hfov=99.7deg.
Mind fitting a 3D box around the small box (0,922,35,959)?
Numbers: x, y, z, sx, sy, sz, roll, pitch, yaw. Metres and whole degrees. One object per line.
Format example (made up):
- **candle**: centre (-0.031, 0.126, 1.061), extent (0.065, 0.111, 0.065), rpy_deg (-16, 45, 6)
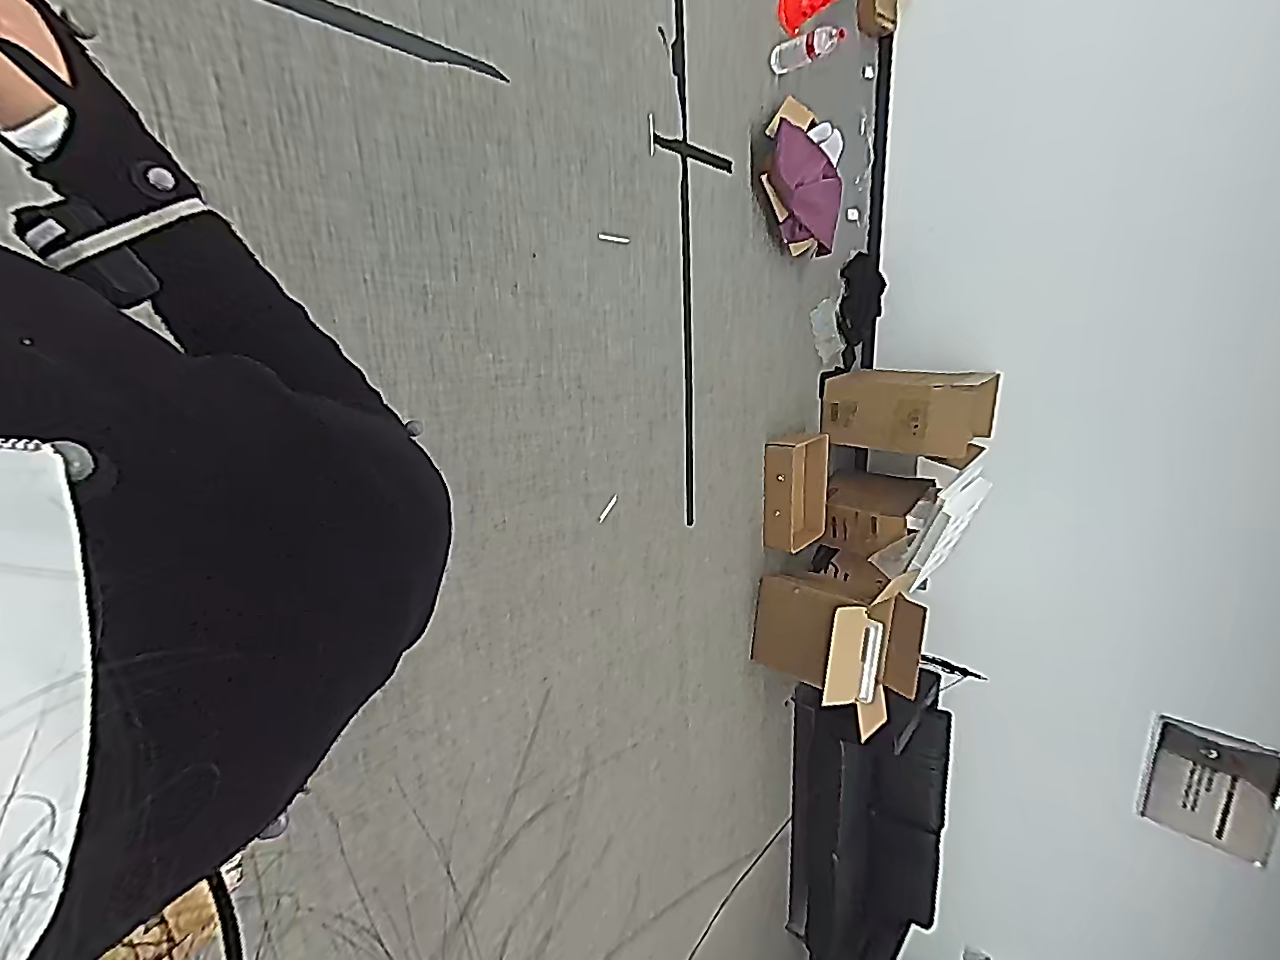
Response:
- **small box**: centre (-0.741, 0.623, 0.551), extent (0.168, 0.176, 0.179), rpy_deg (-6, 101, -45)
